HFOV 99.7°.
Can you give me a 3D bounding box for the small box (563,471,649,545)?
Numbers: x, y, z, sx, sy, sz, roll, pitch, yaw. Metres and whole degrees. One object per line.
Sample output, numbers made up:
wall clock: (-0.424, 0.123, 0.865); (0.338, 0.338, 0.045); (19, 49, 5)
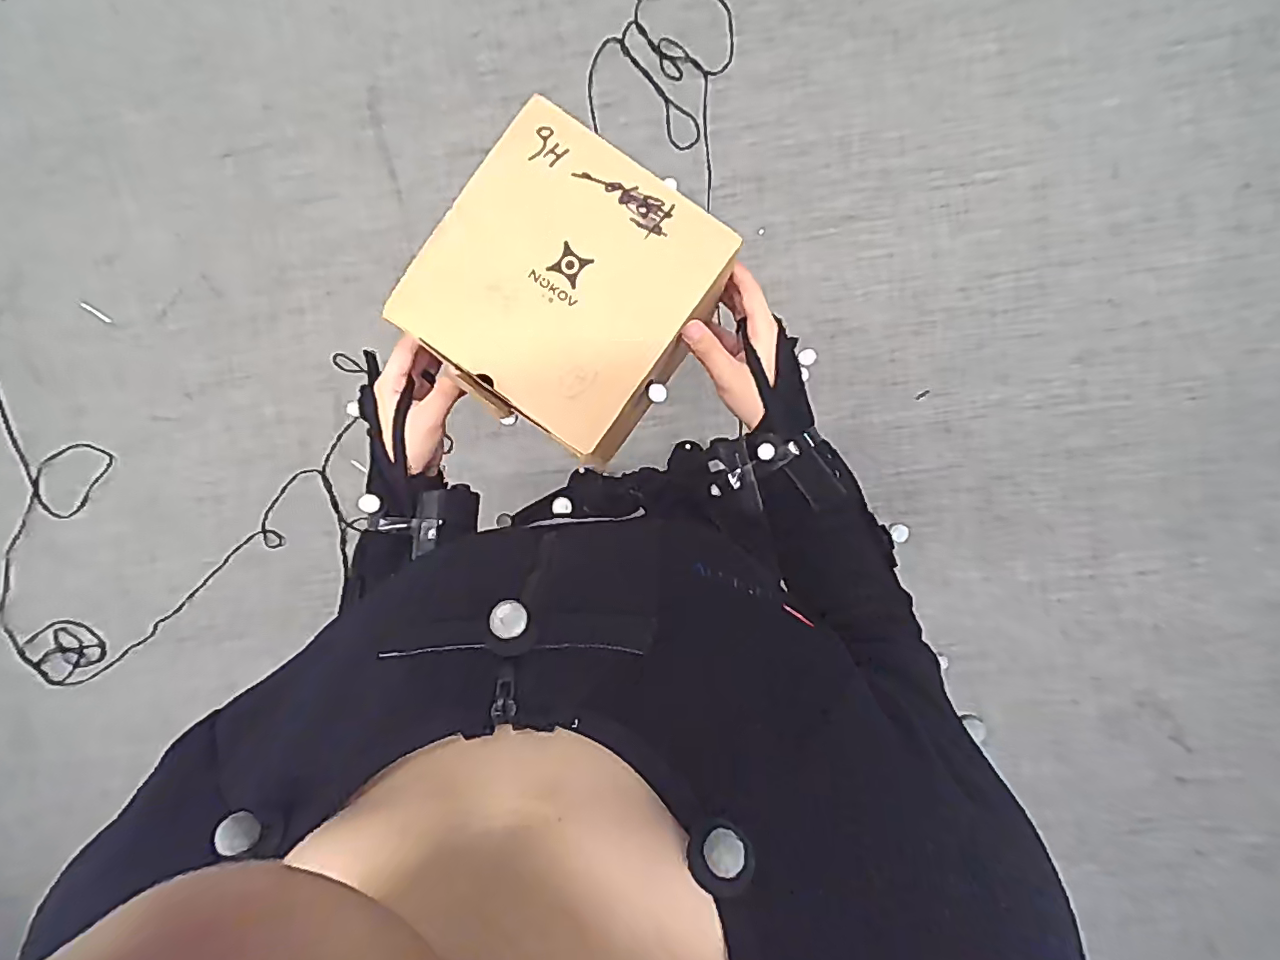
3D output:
small box: (-0.083, 0.066, 1.331); (0.179, 0.176, 0.168); (4, 90, 14)
